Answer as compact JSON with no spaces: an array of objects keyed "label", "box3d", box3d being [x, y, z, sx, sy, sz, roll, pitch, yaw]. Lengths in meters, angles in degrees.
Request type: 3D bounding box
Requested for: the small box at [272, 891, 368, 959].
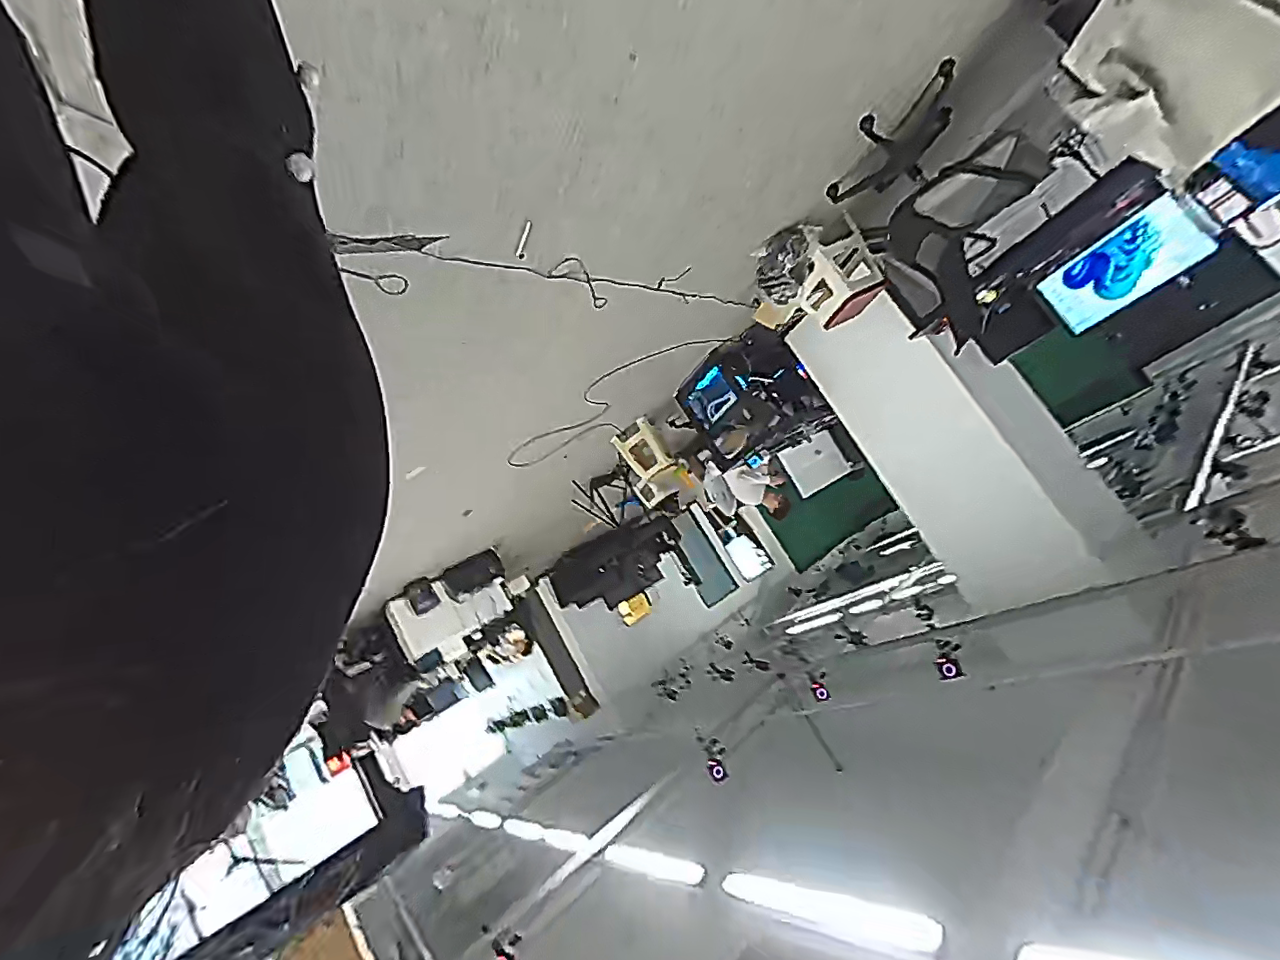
[{"label":"small box","box3d":[-0.813,1.203,1.381,0.168,0.176,0.179,-22,168,-34]}]
